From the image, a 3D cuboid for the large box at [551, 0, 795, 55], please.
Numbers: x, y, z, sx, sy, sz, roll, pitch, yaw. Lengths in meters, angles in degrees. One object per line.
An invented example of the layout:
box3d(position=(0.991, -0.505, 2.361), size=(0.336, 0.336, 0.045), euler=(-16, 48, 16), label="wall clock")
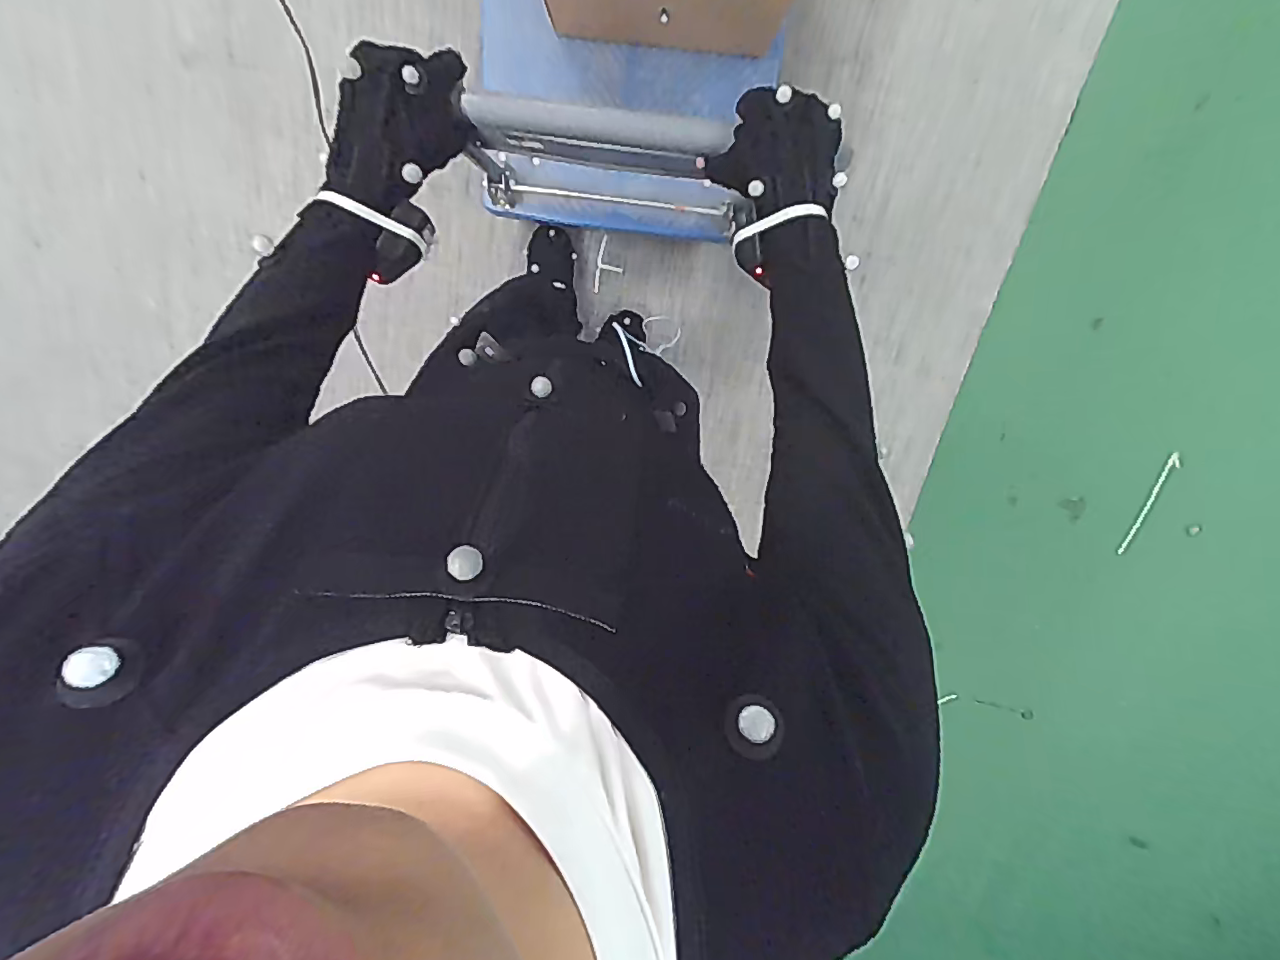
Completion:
box3d(position=(0.060, -0.931, 0.862), size=(0.408, 0.320, 0.320), euler=(5, 108, 0), label="large box")
